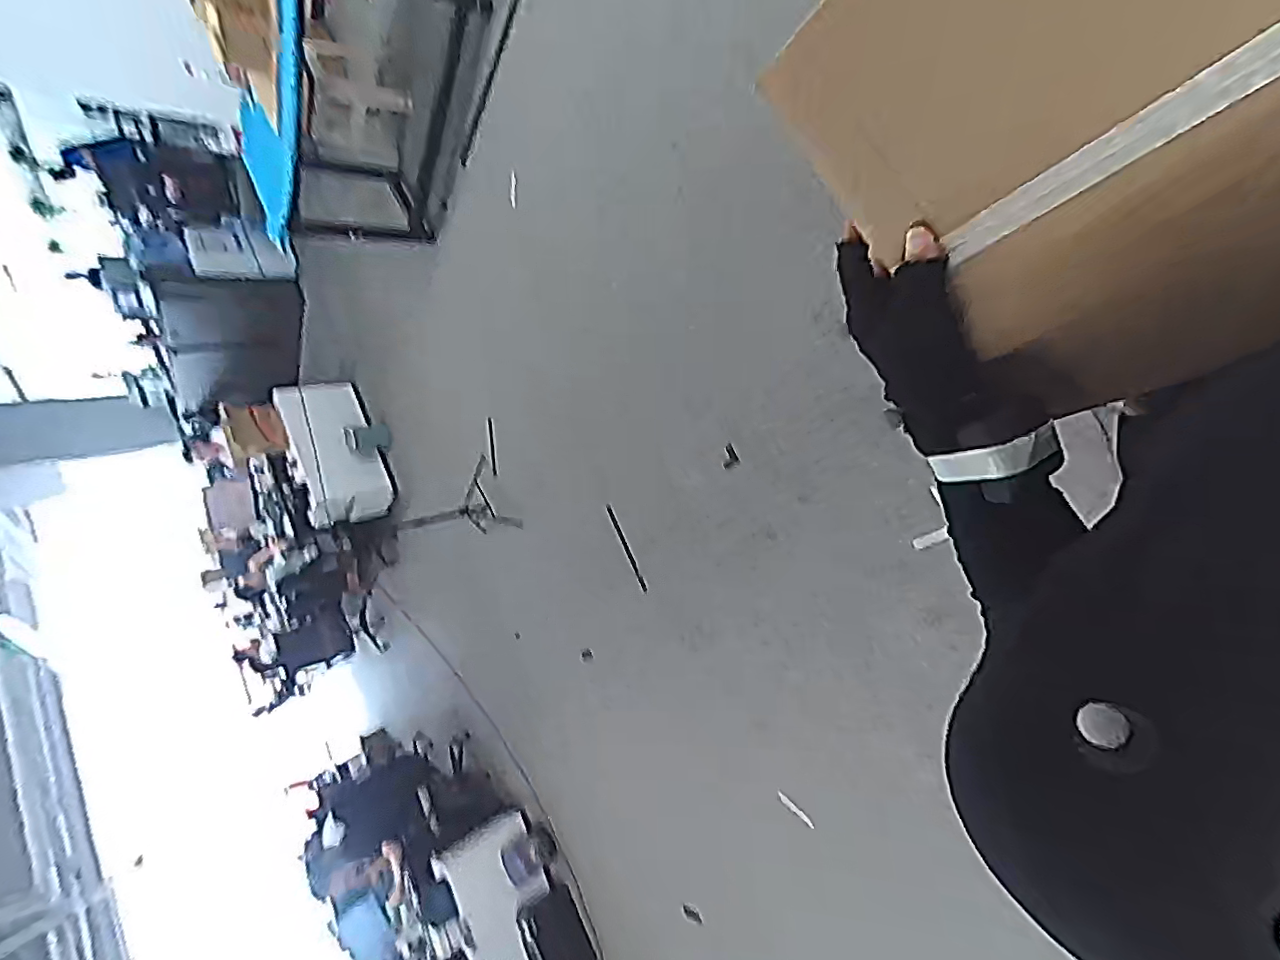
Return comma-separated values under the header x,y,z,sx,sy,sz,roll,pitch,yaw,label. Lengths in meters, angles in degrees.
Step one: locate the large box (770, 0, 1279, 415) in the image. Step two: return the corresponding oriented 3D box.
x,y,z,sx,sy,sz,roll,pitch,yaw,label
0.359,-0.307,0.313,0.320,0.320,0.408,42,145,-16,large box
